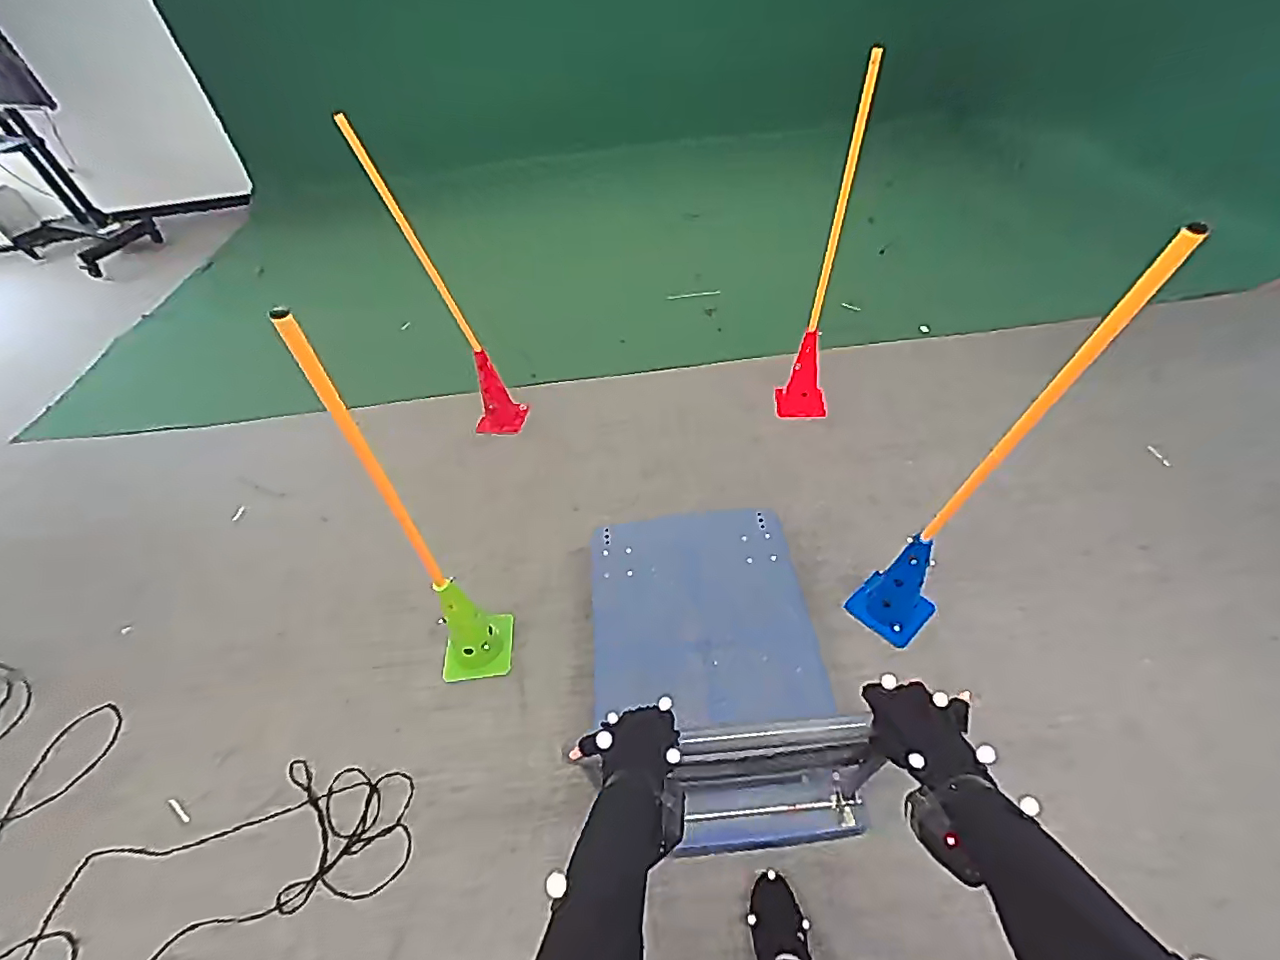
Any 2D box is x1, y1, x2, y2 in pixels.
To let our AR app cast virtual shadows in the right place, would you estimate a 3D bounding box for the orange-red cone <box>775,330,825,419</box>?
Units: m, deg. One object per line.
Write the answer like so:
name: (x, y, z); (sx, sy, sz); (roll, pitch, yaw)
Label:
orange-red cone: (0.664, -0.438, 2.180); (0.198, 0.360, 0.199); (1, 48, 8)
